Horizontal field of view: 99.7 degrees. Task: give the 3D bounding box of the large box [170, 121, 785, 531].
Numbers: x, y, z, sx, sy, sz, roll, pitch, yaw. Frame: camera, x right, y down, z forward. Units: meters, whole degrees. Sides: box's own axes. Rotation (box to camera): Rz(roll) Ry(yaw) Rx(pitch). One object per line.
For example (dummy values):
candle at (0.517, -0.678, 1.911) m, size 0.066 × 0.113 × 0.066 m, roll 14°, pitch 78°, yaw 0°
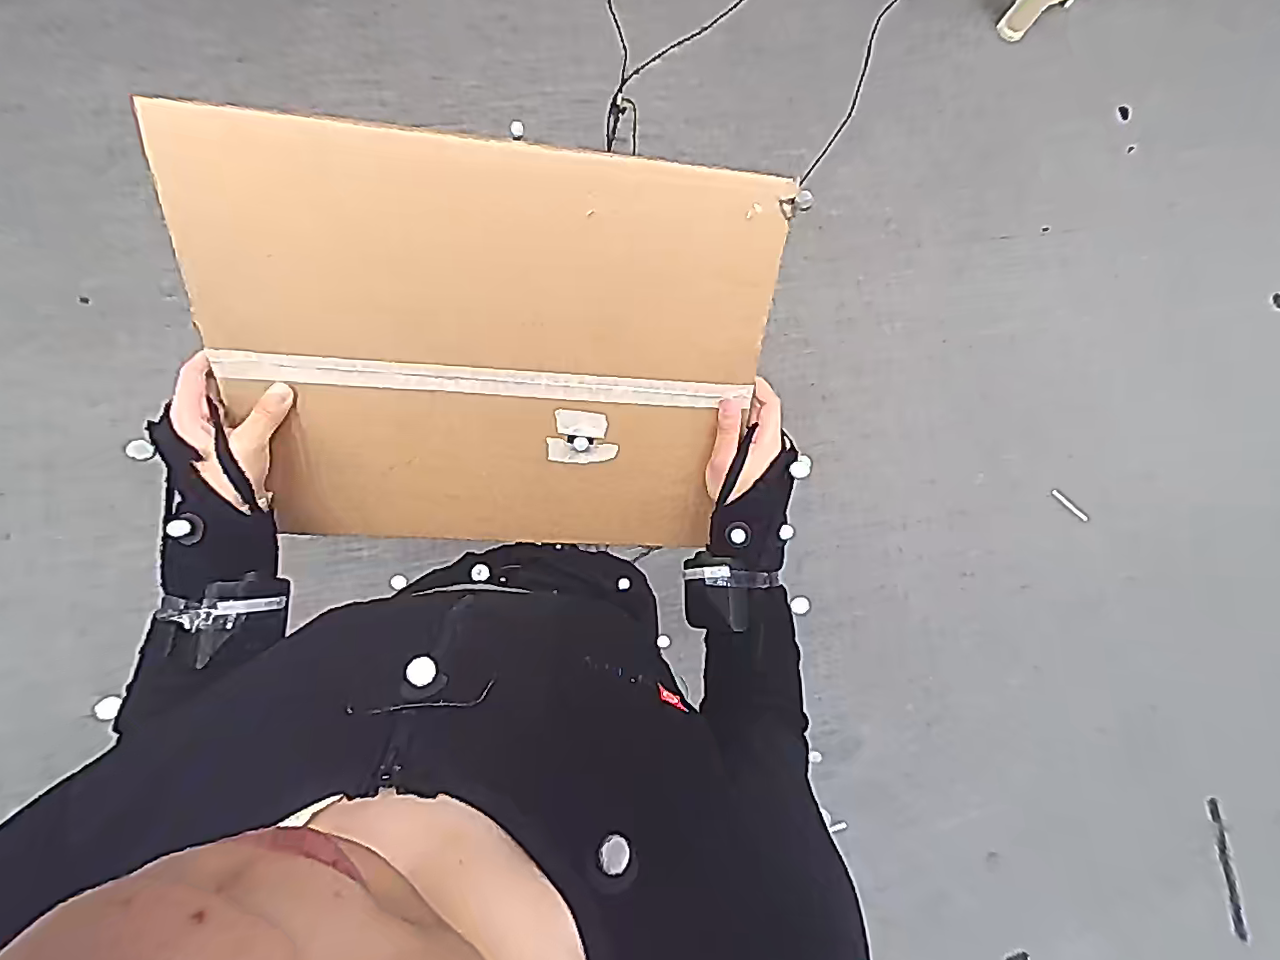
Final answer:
large box at (-0.123, -0.160, 0.557) m, size 0.408 × 0.320 × 0.320 m, roll 2°, pitch 122°, yaw -8°
